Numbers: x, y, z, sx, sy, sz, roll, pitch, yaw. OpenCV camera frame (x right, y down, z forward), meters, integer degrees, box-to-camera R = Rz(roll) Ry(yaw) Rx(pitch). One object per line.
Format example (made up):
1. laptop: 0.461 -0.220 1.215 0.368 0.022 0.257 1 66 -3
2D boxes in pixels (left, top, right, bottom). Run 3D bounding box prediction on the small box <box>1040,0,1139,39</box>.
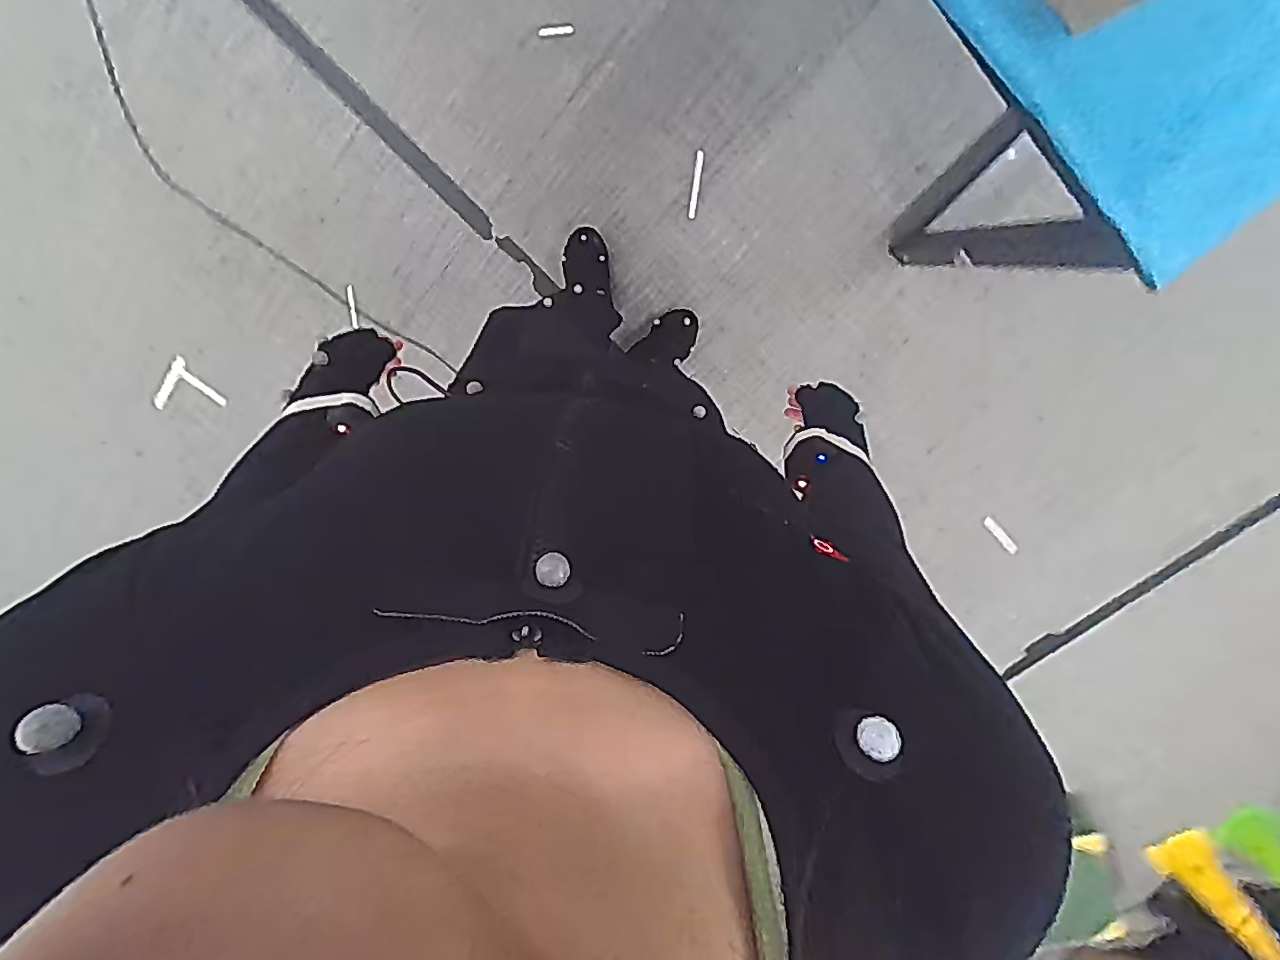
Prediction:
1. small box: 0.429 -0.522 0.427 0.168 0.176 0.179 41 107 -14
